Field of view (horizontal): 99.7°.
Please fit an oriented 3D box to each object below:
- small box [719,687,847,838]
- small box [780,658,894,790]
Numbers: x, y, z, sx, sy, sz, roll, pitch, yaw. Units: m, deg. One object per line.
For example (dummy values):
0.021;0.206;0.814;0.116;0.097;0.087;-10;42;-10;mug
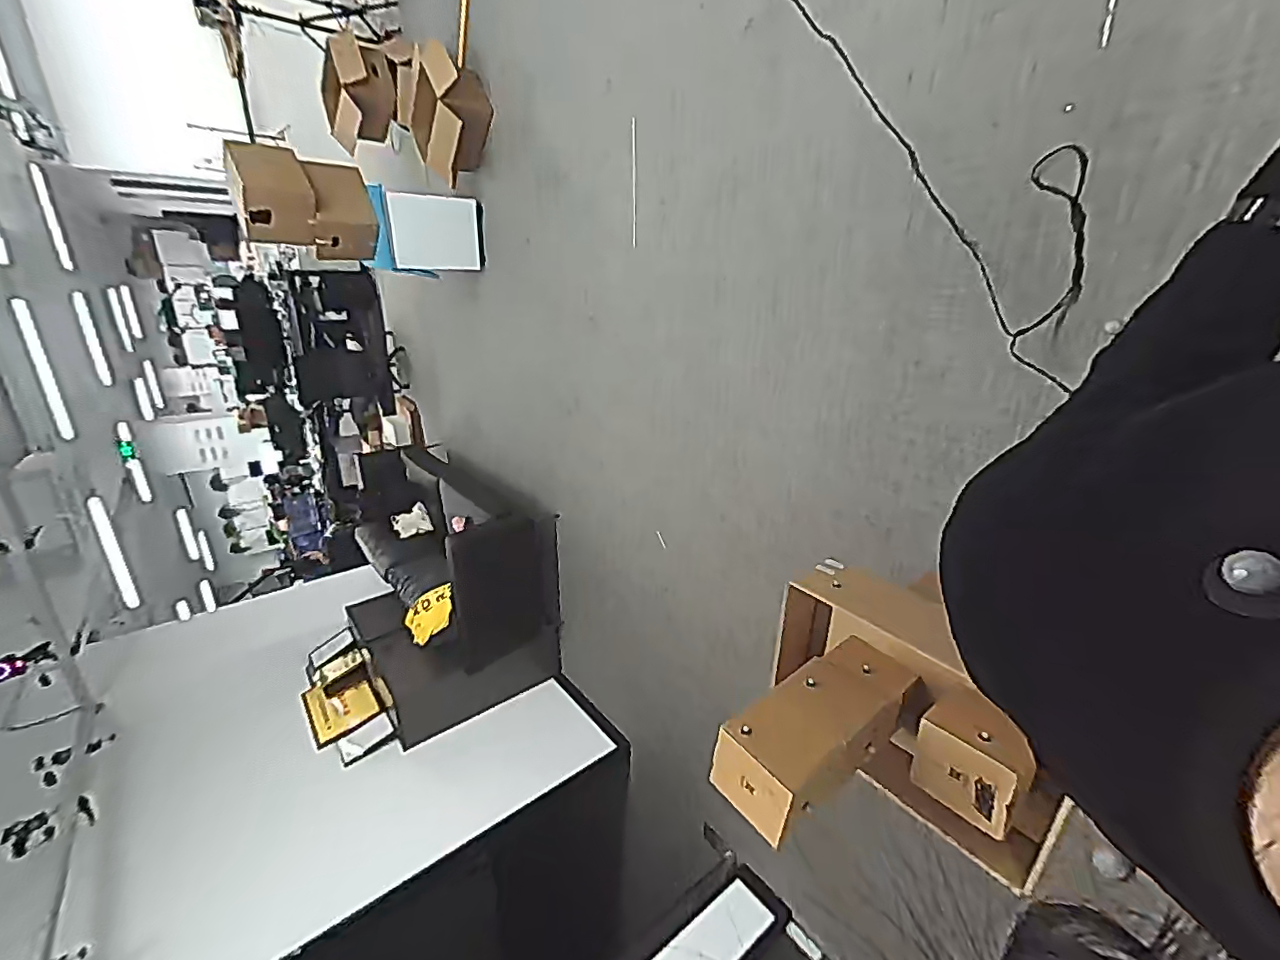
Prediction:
0.286;0.554;1.087;0.179;0.176;0.168;32;128;43;small box
0.414;0.517;1.179;0.179;0.176;0.168;30;126;43;small box
